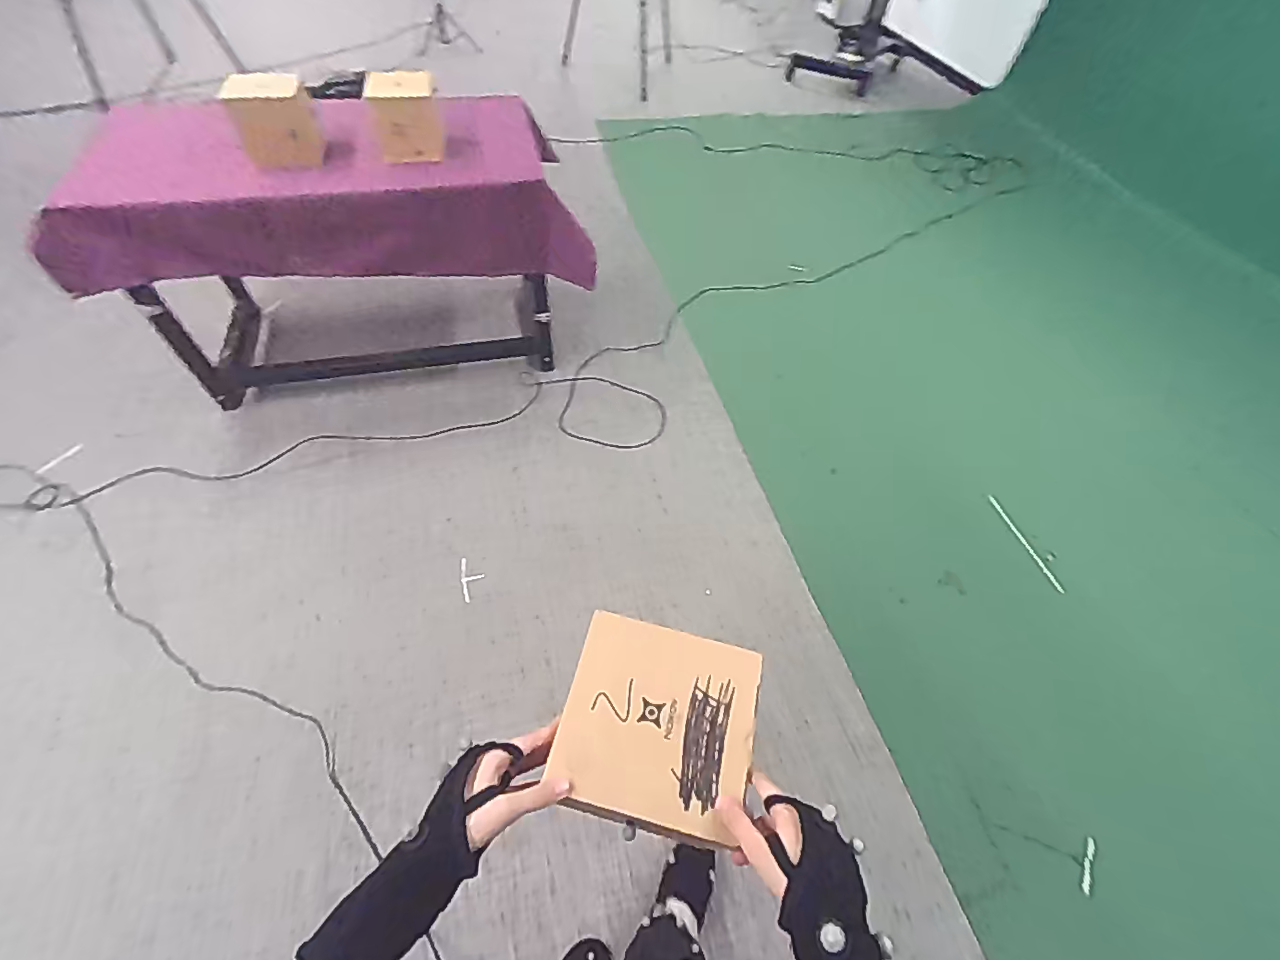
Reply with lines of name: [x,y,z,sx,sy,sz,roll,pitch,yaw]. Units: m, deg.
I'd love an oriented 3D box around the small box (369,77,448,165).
small box: [-0.649,-1.015,1.535,0.168,0.176,0.179,-8,54,-10]

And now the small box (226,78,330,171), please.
small box: [-0.975,-0.968,1.475,0.179,0.176,0.168,-9,54,-10]
